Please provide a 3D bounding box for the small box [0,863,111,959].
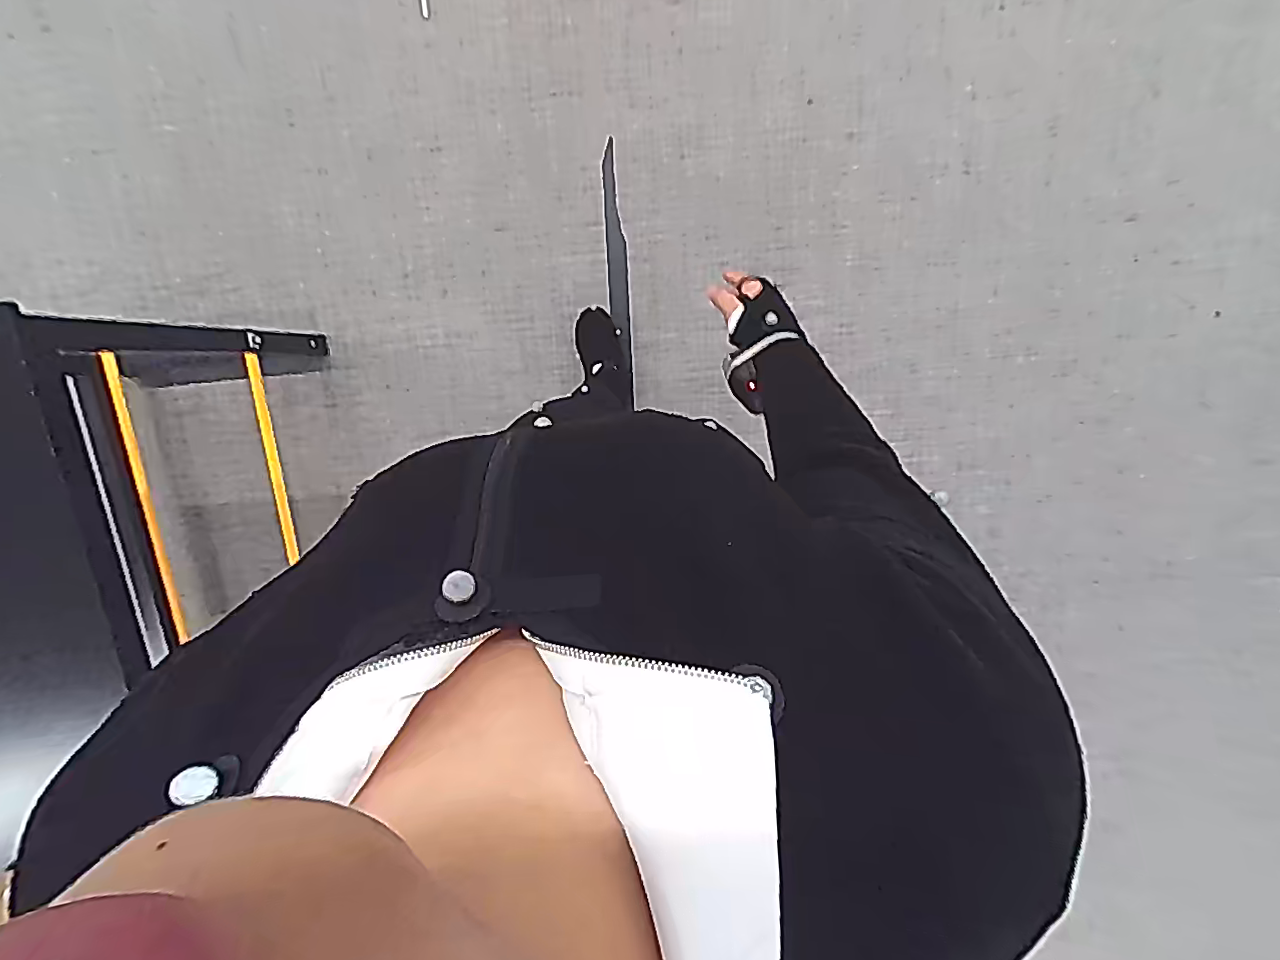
[{"bbox_3d":[-0.997,0.746,0.848,0.168,0.176,0.179,-3,101,2],"label":"small box"}]
